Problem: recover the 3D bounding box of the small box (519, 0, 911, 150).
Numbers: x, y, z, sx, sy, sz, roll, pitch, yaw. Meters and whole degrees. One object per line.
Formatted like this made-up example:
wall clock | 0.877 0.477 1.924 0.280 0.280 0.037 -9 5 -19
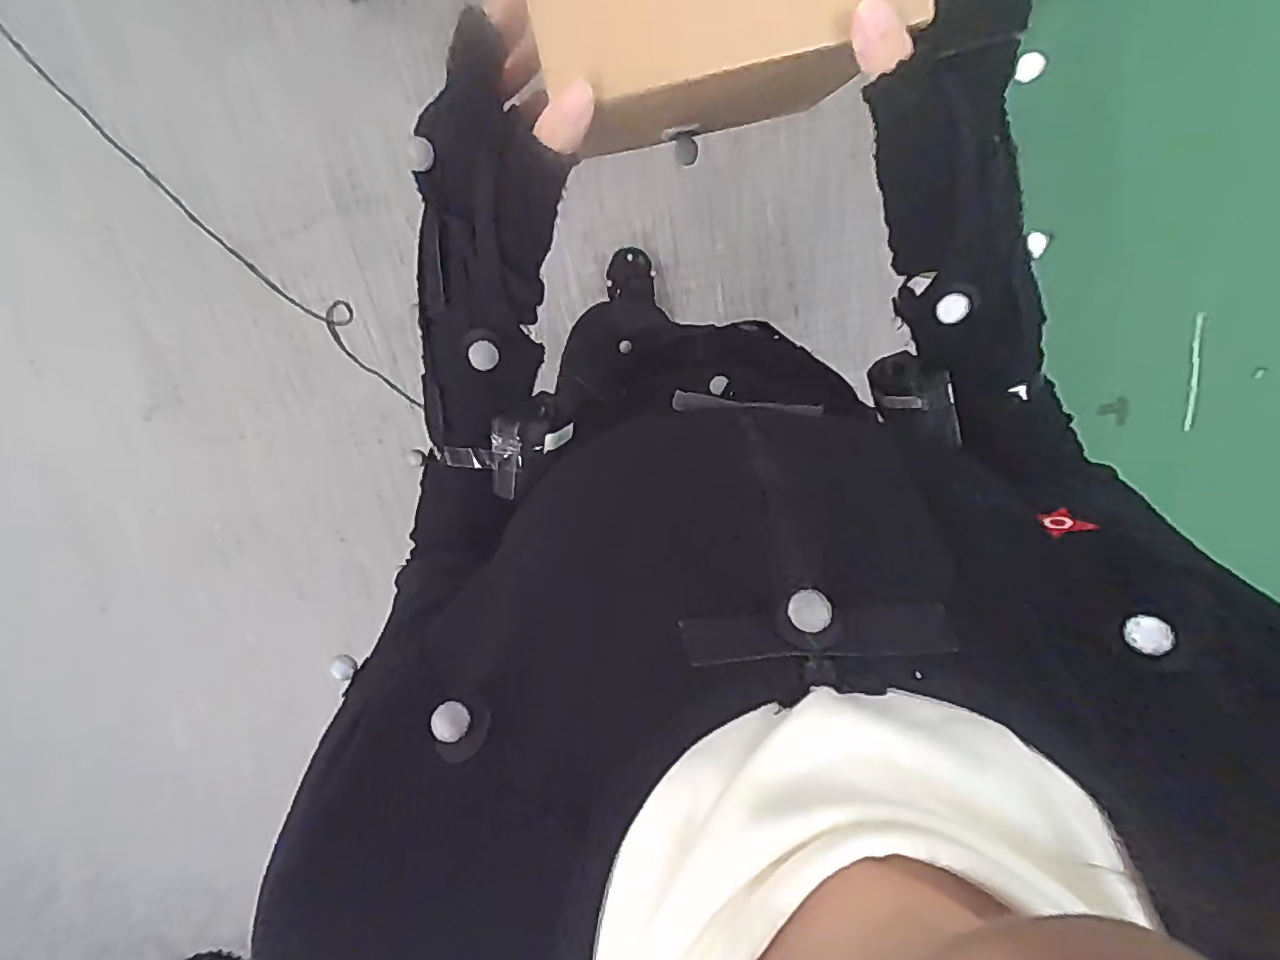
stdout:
small box | 0.017 -0.293 0.272 0.168 0.176 0.179 -11 113 4
